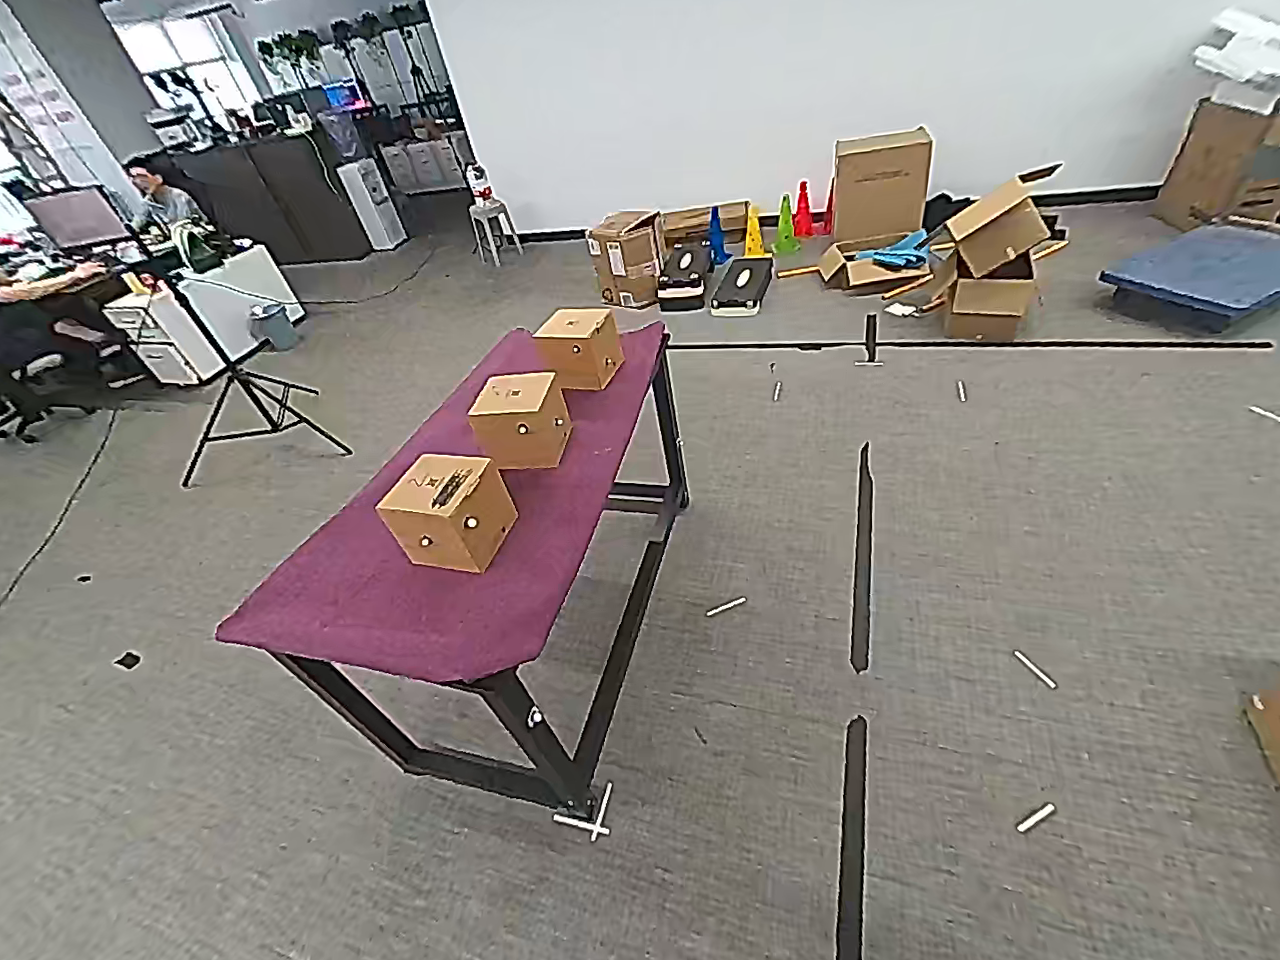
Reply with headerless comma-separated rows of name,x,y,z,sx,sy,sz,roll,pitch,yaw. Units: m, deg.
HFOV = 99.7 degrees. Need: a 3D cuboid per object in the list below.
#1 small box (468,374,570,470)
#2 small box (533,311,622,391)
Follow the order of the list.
small box,-0.283,-0.139,1.318,0.179,0.176,0.168,-2,42,12
small box,-0.172,-0.369,1.550,0.179,0.176,0.168,7,45,22
